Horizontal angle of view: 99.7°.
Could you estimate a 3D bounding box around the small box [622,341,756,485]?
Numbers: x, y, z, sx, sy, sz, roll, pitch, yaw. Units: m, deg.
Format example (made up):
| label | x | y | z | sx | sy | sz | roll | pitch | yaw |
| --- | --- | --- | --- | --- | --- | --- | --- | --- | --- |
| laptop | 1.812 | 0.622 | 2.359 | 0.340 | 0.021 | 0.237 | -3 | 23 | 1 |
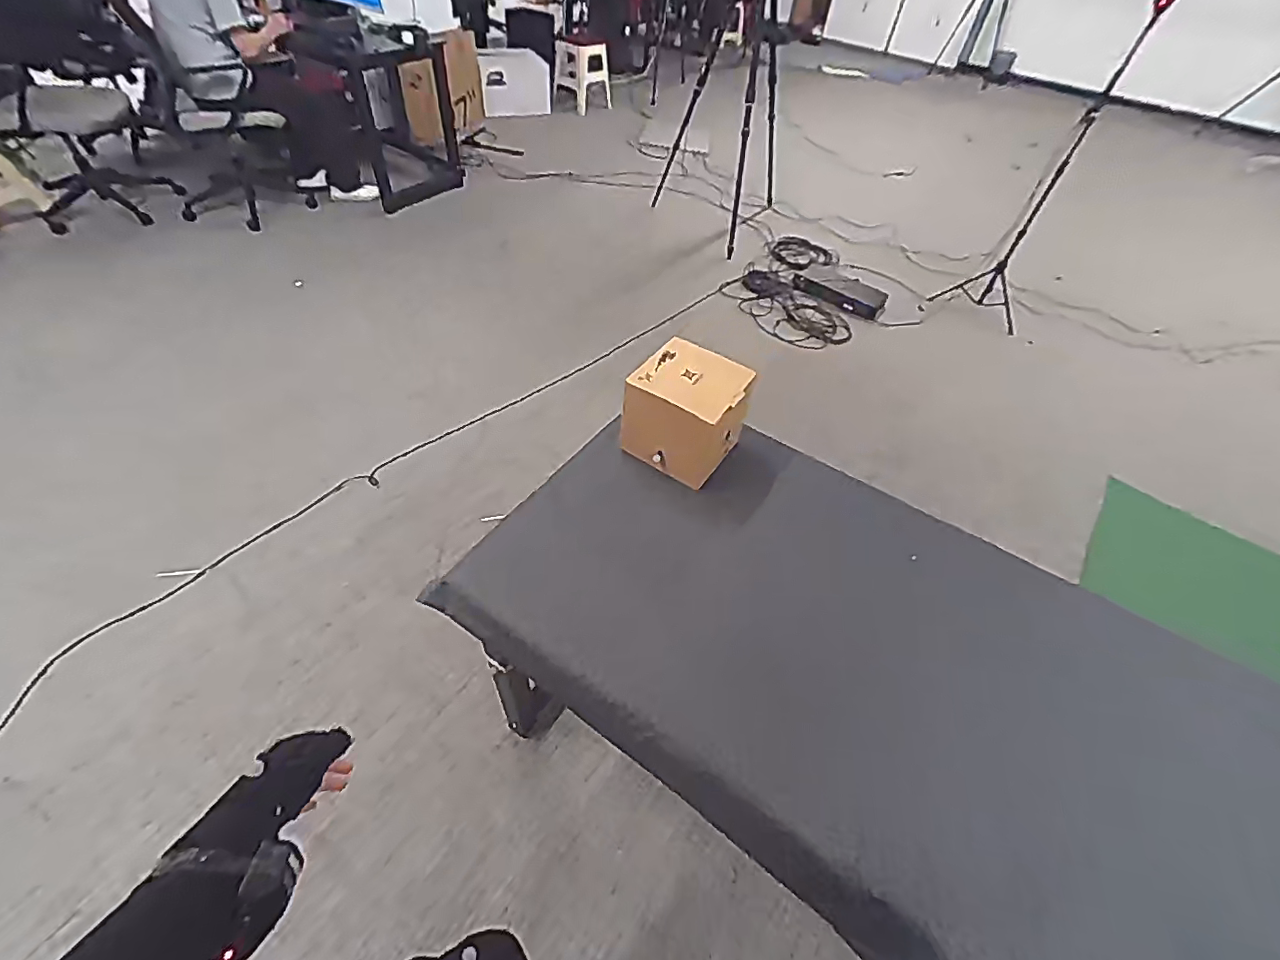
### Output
| label | x | y | z | sx | sy | sz | roll | pitch | yaw |
| --- | --- | --- | --- | --- | --- | --- | --- | --- | --- |
| small box | 0.083 | -0.117 | 0.991 | 0.179 | 0.176 | 0.168 | 30 | 53 | 17 |
